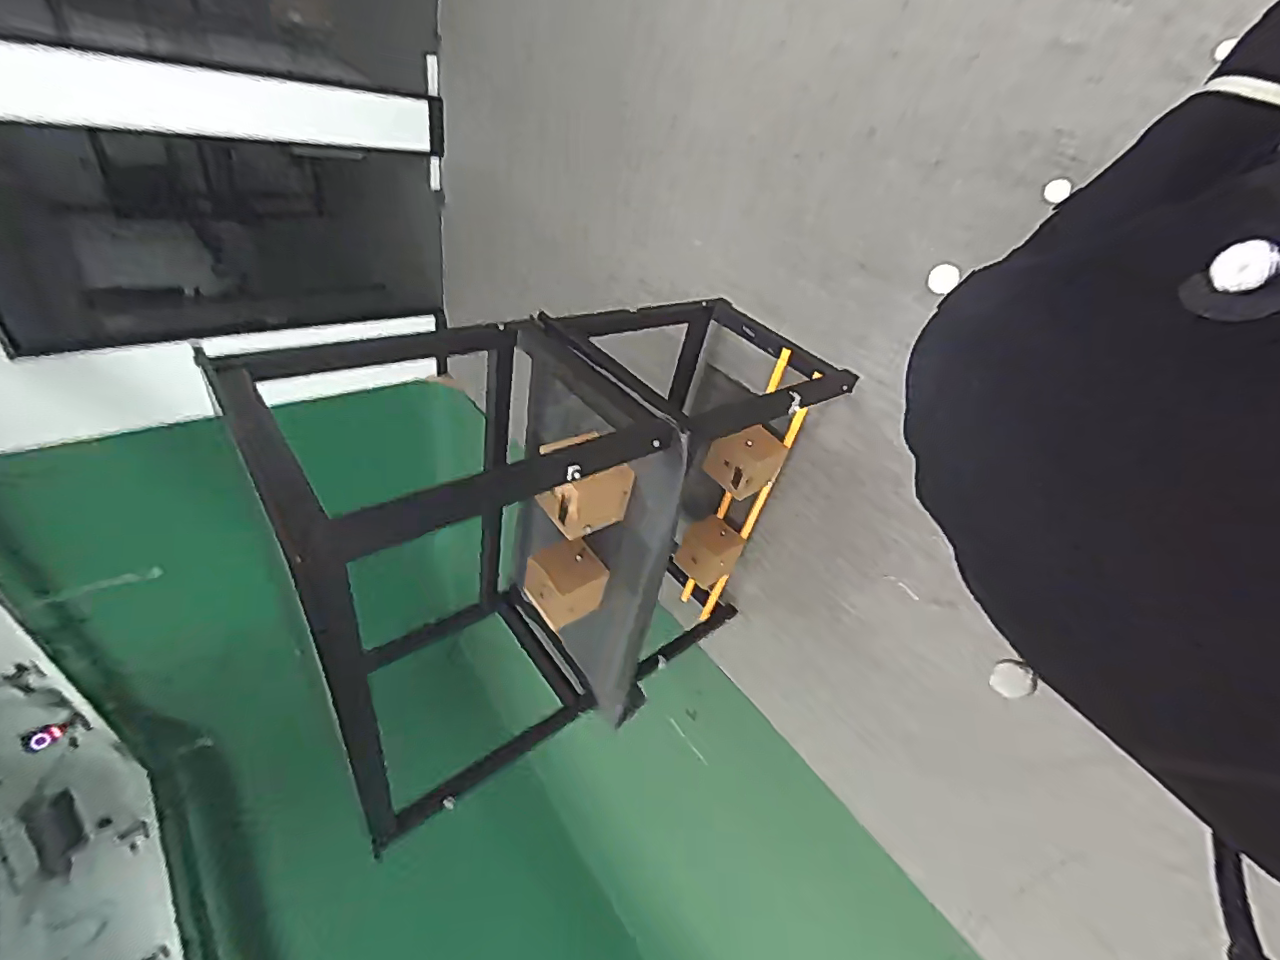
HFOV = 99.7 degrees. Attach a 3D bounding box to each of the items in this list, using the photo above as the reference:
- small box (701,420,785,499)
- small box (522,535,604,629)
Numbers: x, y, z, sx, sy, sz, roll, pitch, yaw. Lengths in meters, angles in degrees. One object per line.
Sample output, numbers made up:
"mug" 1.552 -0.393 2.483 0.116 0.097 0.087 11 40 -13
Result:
"small box" 0.333 -0.073 1.744 0.179 0.176 0.168 46 137 28
"small box" -0.223 0.292 1.572 0.168 0.176 0.179 45 137 28
